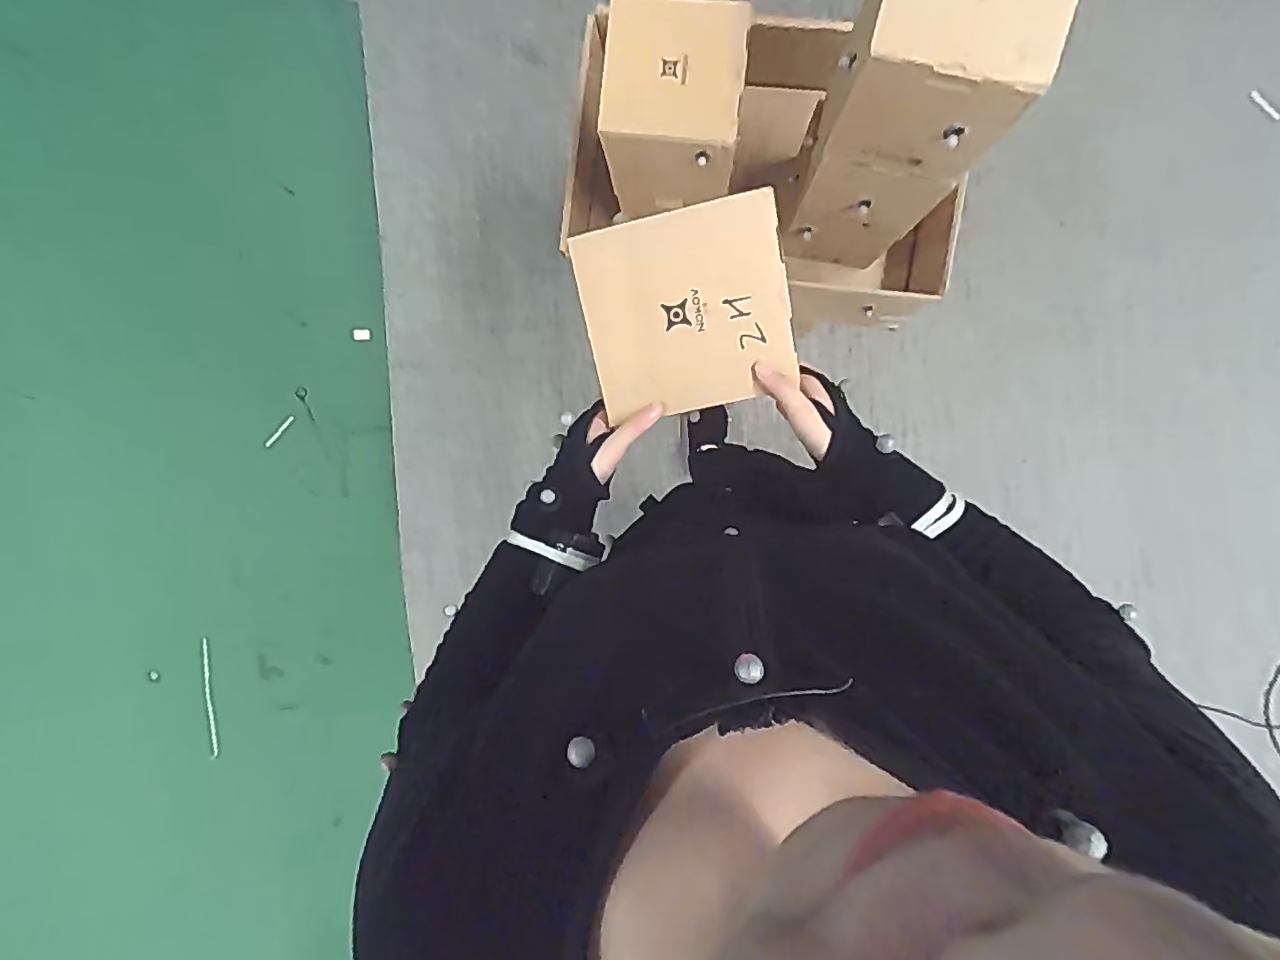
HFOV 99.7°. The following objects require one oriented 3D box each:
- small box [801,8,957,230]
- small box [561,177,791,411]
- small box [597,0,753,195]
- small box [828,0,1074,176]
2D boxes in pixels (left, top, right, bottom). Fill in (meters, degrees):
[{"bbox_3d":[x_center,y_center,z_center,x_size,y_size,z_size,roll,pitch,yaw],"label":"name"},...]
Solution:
[{"bbox_3d":[0.324,-0.460,0.718,0.168,0.176,0.179,15,95,4],"label":"small box"},{"bbox_3d":[0.040,-0.171,0.540,0.179,0.176,0.168,-11,104,7],"label":"small box"},{"bbox_3d":[0.047,-0.511,0.742,0.179,0.176,0.168,7,94,4],"label":"small box"},{"bbox_3d":[0.309,-0.450,0.555,0.168,0.176,0.179,16,94,4],"label":"small box"}]
